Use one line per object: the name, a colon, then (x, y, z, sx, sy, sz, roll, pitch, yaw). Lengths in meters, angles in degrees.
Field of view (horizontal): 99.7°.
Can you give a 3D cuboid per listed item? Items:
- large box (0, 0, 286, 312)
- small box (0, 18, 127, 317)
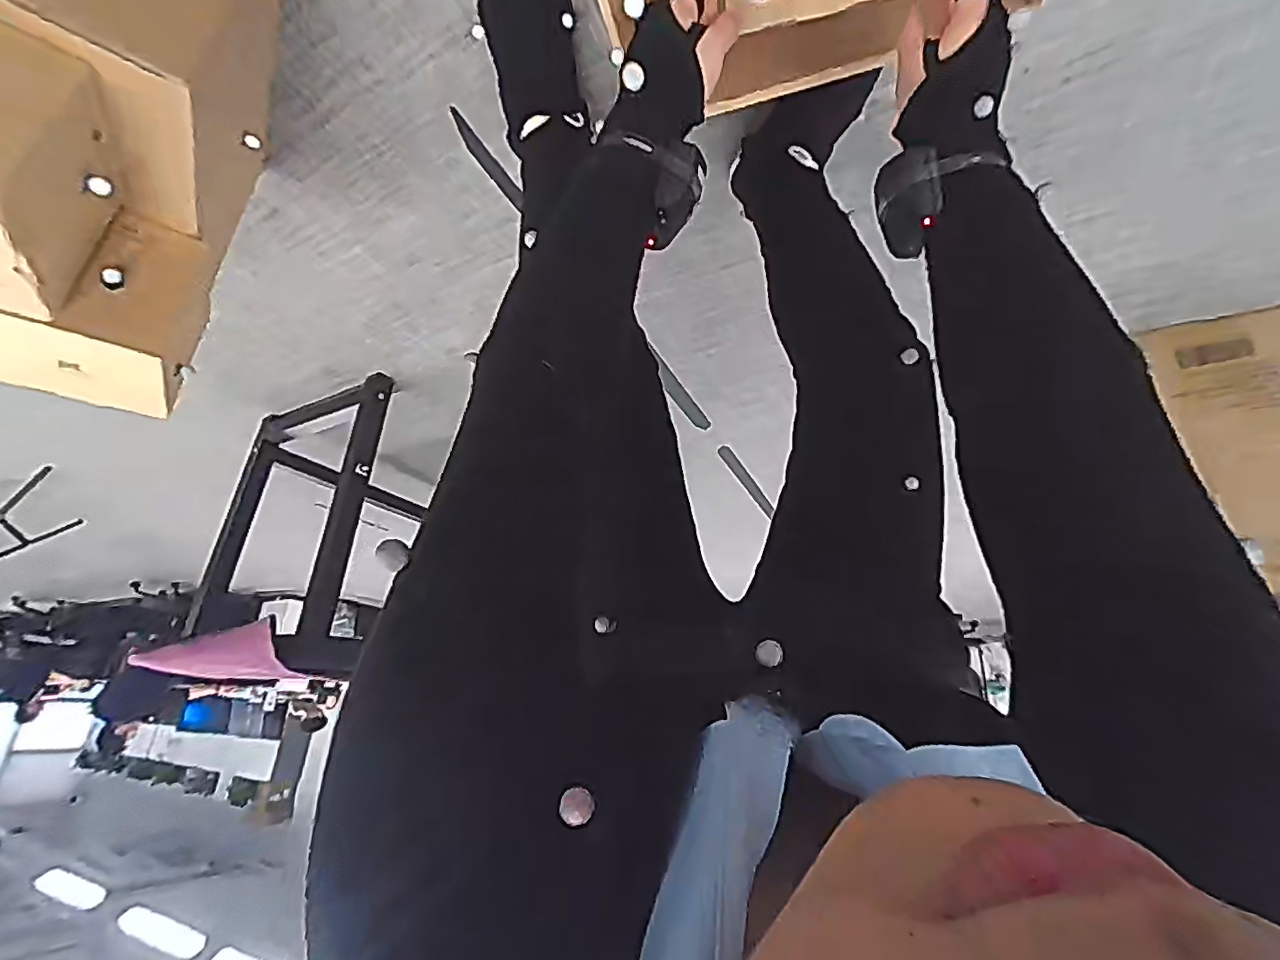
large box: (-0.617, -0.473, 0.603, 0.320, 0.320, 0.408, 19, 153, -31)
small box: (-0.573, -0.274, 0.438, 0.179, 0.176, 0.168, 17, 154, -31)
